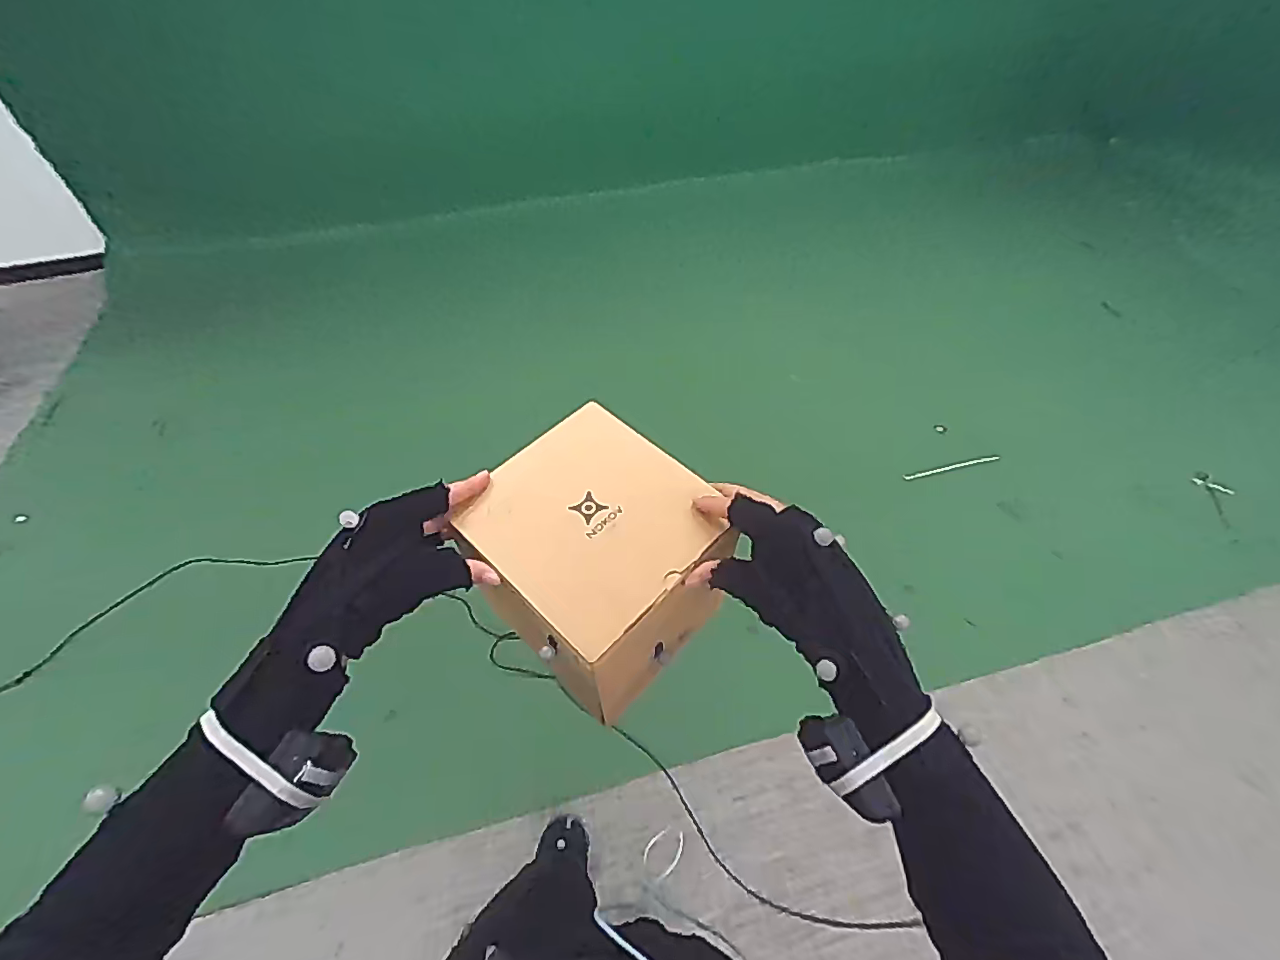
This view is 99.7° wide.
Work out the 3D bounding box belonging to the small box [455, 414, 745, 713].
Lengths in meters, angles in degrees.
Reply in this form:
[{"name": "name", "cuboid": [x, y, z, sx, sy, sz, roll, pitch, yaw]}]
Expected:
[{"name": "small box", "cuboid": [-0.035, 0.079, 0.494, 0.179, 0.176, 0.168, 39, 62, 24]}]
